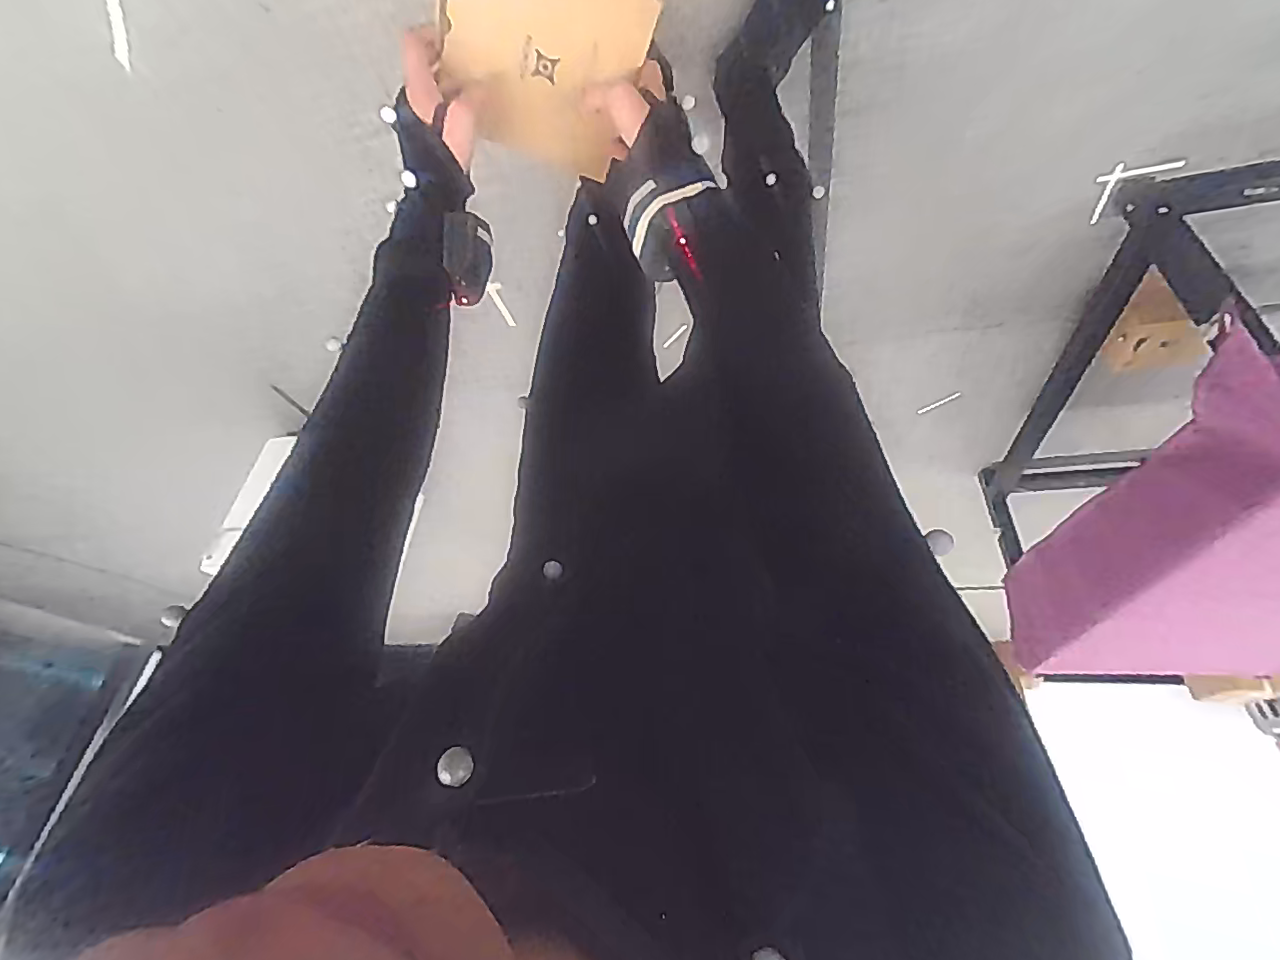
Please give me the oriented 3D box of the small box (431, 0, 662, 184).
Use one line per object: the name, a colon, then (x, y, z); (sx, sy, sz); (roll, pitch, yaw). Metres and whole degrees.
small box: (-0.091, -0.435, 0.525); (0.179, 0.176, 0.168); (11, 146, -18)
